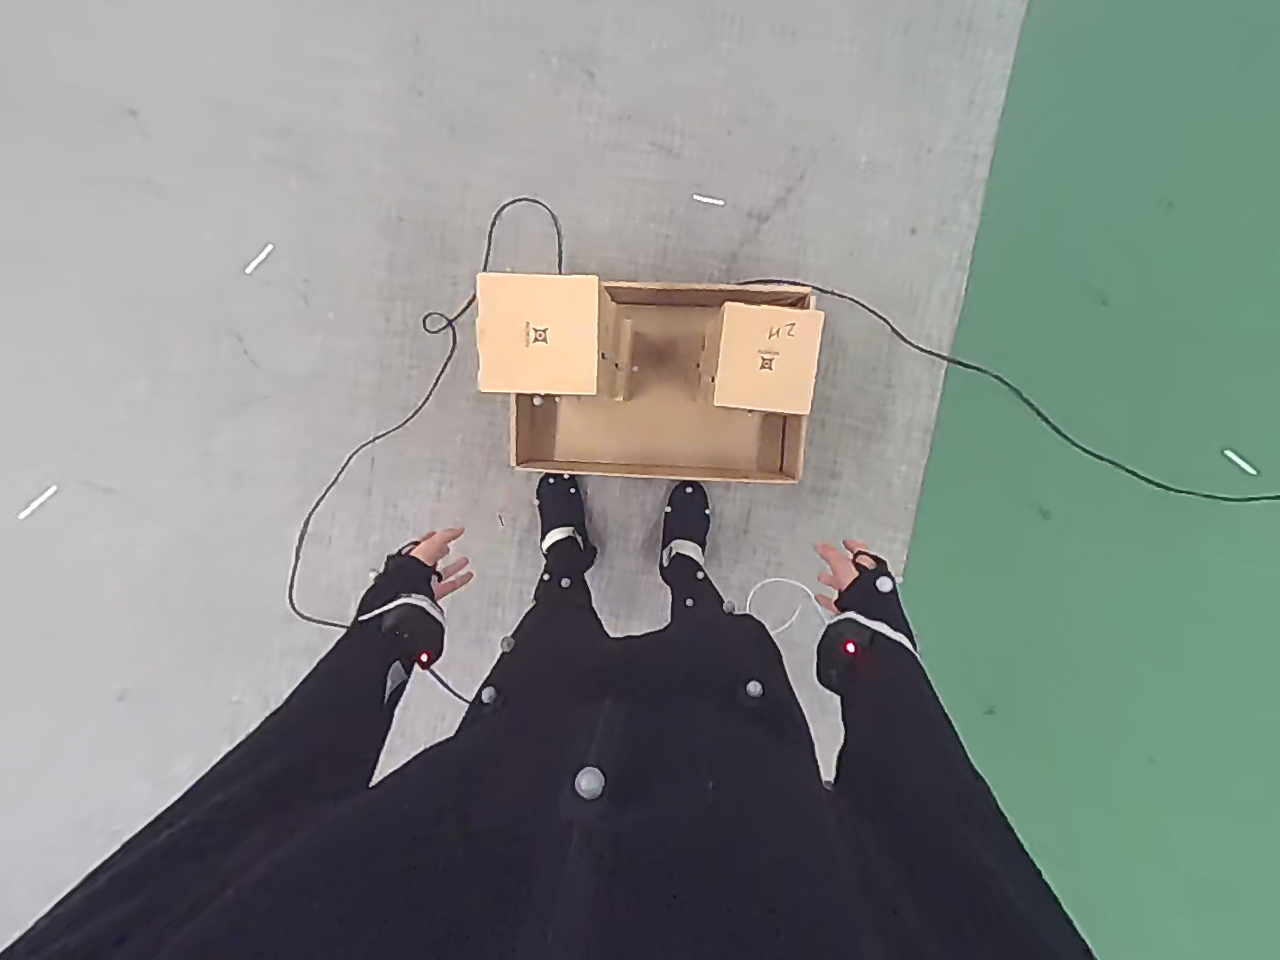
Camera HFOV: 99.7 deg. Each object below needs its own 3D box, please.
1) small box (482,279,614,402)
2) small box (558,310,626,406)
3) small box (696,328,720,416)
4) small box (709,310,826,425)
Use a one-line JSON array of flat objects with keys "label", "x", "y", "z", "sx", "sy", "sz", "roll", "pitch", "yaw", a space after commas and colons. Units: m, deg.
[{"label": "small box", "x": -0.134, "y": -0.209, "z": 0.844, "sx": 0.179, "sy": 0.176, "sz": 0.168, "roll": 2, "pitch": 98, "yaw": 3}, {"label": "small box", "x": -0.126, "y": -0.228, "z": 1.004, "sx": 0.179, "sy": 0.176, "sz": 0.168, "roll": 7, "pitch": 98, "yaw": 2}, {"label": "small box", "x": 0.216, "y": -0.217, "z": 1.152, "sx": 0.179, "sy": 0.176, "sz": 0.168, "roll": 7, "pitch": 97, "yaw": 3}, {"label": "small box", "x": 0.222, "y": -0.196, "z": 0.988, "sx": 0.168, "sy": 0.176, "sz": 0.179, "roll": 7, "pitch": 96, "yaw": 2}]
